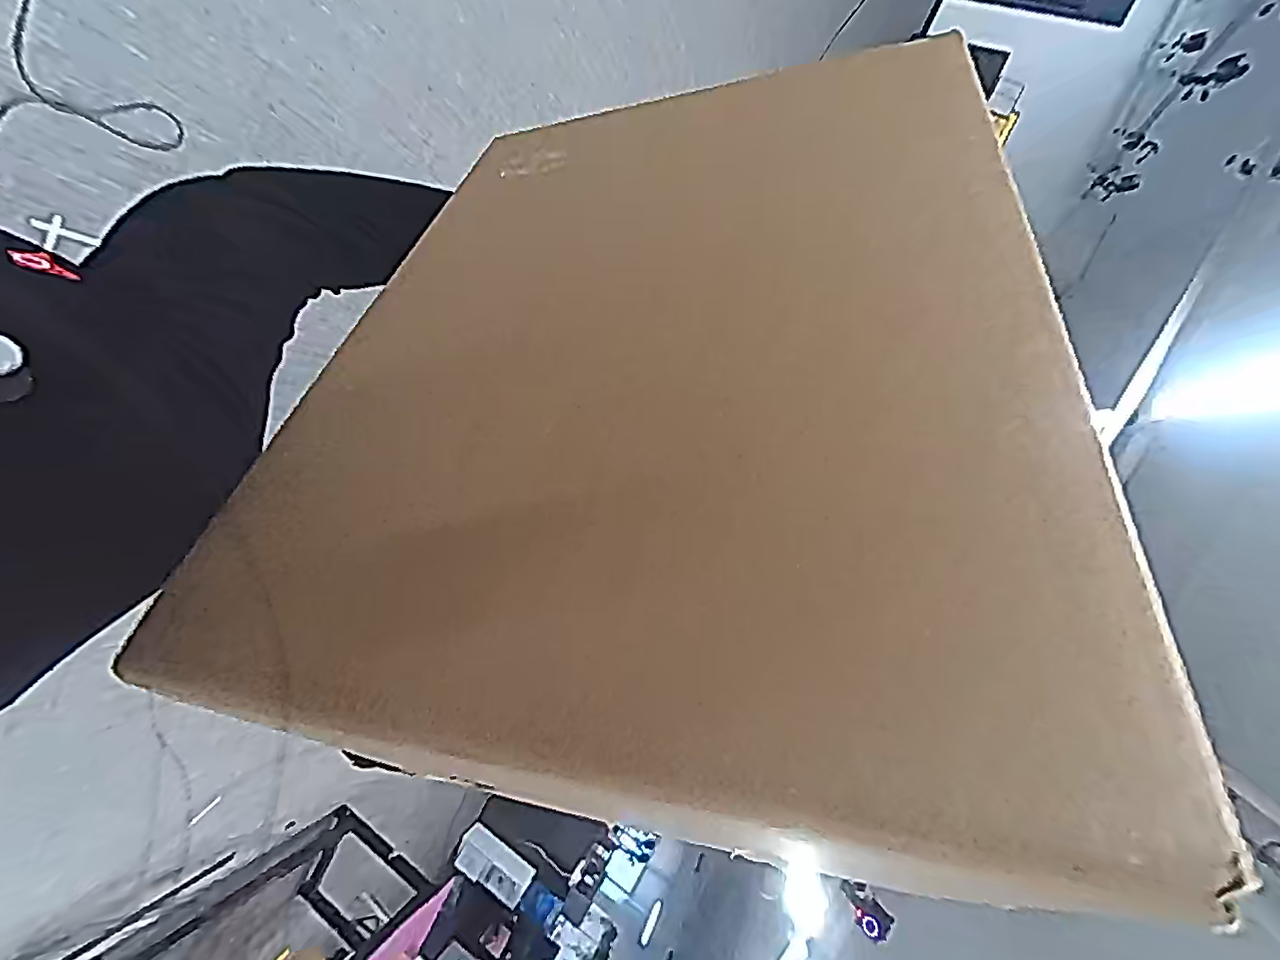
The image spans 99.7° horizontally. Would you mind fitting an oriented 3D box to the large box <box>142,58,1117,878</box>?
[{"bbox_3d":[0.034,-0.009,0.373,0.320,0.320,0.408,68,30,-51],"label":"large box"}]
